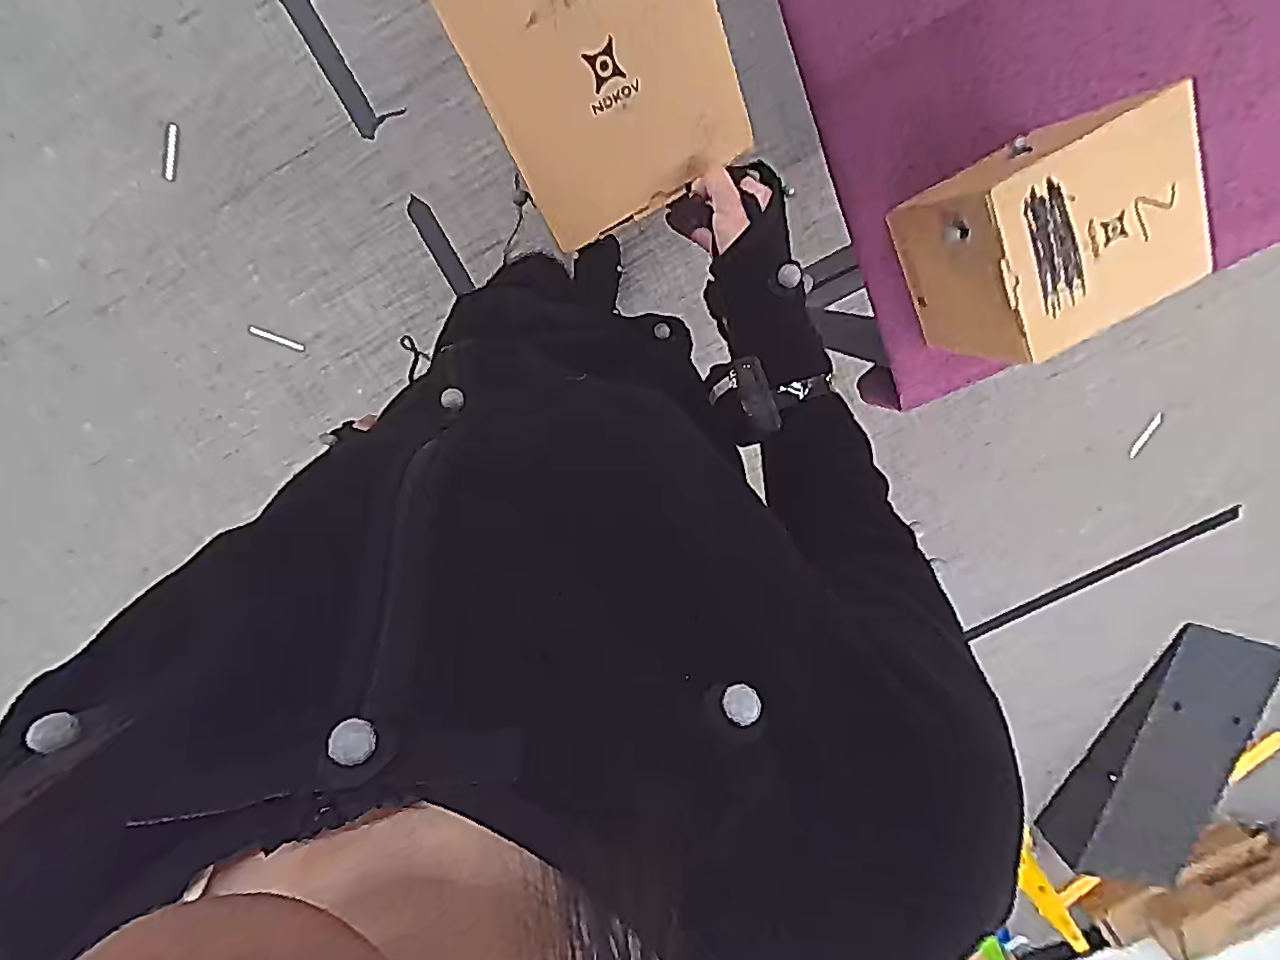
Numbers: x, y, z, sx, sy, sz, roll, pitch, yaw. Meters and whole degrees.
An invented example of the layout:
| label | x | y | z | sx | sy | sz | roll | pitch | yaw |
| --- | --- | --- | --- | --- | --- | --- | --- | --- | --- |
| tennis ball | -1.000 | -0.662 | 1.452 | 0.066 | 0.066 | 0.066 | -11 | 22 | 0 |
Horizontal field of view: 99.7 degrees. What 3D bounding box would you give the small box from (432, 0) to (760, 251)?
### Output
| label | x | y | z | sx | sy | sz | roll | pitch | yaw |
| --- | --- | --- | --- | --- | --- | --- | --- | --- | --- |
| small box | -0.035 | -0.311 | 0.417 | 0.168 | 0.176 | 0.179 | -29 | 124 | 4 |
